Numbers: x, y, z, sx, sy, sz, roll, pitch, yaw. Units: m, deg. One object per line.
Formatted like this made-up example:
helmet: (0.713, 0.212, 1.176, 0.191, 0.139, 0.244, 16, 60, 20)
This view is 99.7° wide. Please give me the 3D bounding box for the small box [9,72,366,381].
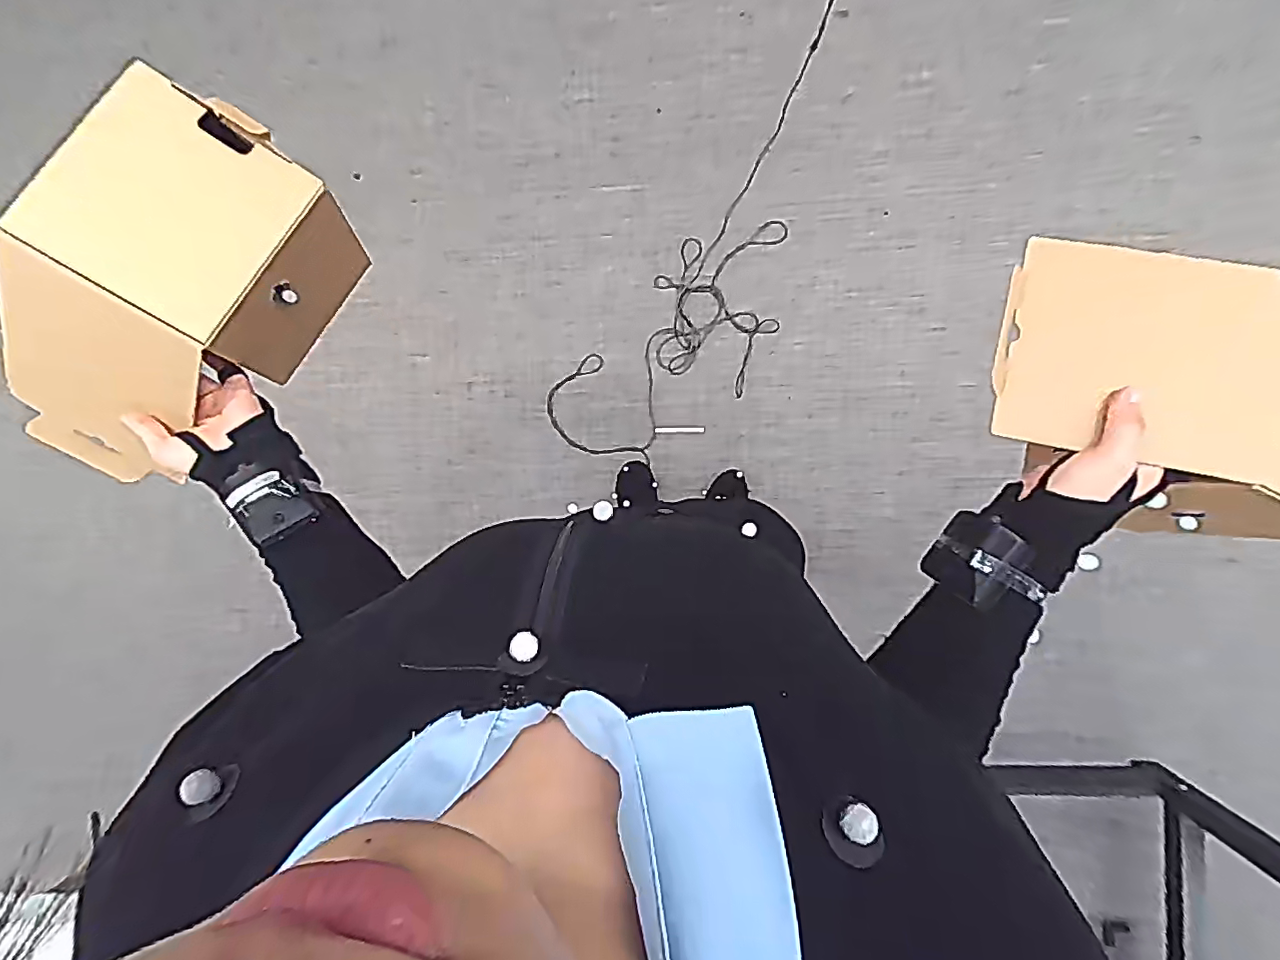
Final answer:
small box: (-0.399, -0.219, 0.523, 0.168, 0.176, 0.179, 32, 81, -10)
